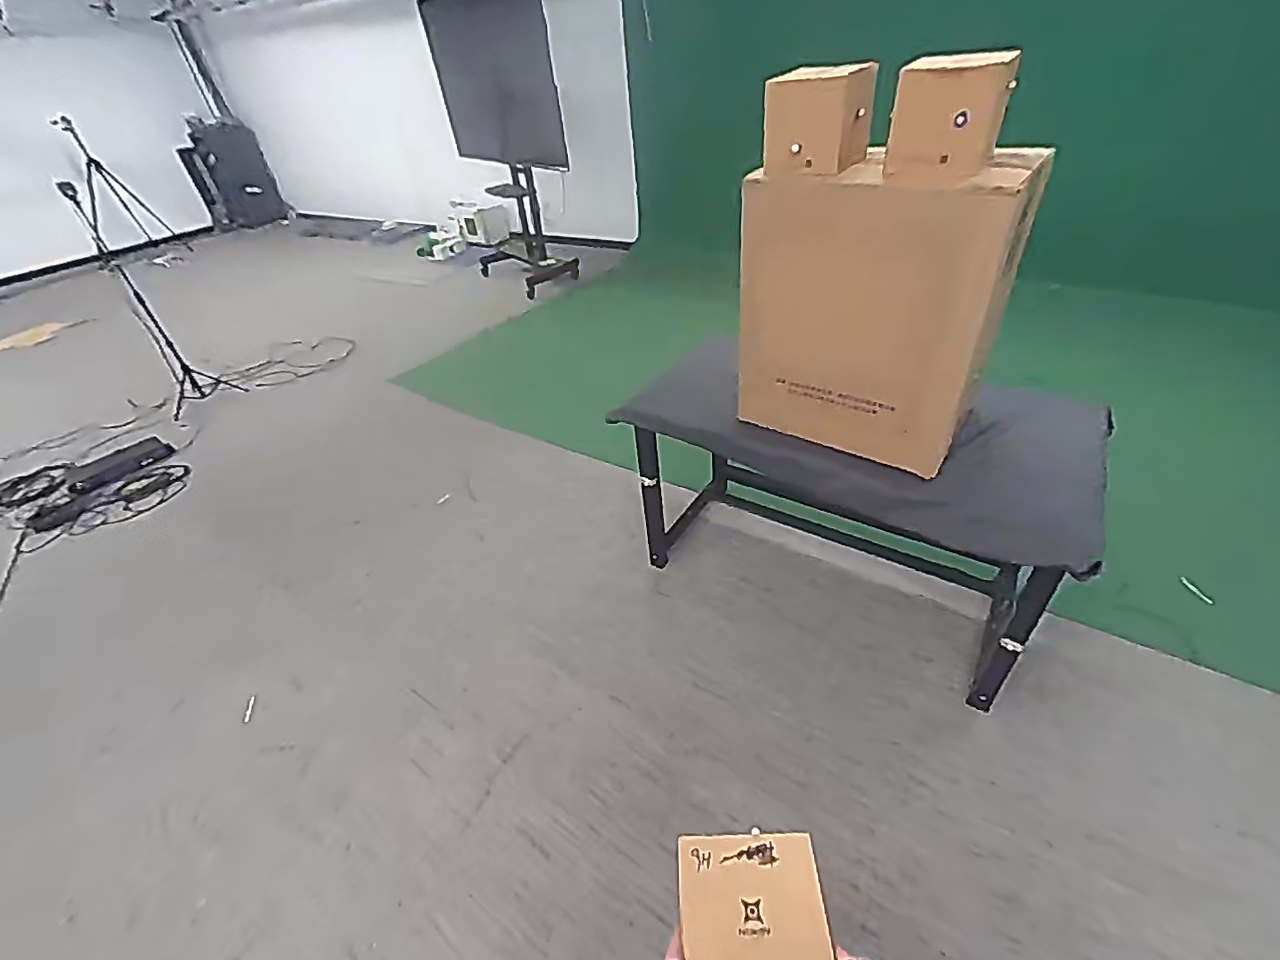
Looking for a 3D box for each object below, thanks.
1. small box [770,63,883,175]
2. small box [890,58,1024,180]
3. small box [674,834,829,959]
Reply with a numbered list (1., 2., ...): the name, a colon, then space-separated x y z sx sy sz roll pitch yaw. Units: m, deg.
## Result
1. small box: 0.380 -0.753 1.129 0.168 0.176 0.179 23 49 33
2. small box: 0.587 -0.678 1.017 0.168 0.176 0.179 21 47 26
3. small box: 0.136 0.573 0.670 0.168 0.176 0.179 -7 38 3
